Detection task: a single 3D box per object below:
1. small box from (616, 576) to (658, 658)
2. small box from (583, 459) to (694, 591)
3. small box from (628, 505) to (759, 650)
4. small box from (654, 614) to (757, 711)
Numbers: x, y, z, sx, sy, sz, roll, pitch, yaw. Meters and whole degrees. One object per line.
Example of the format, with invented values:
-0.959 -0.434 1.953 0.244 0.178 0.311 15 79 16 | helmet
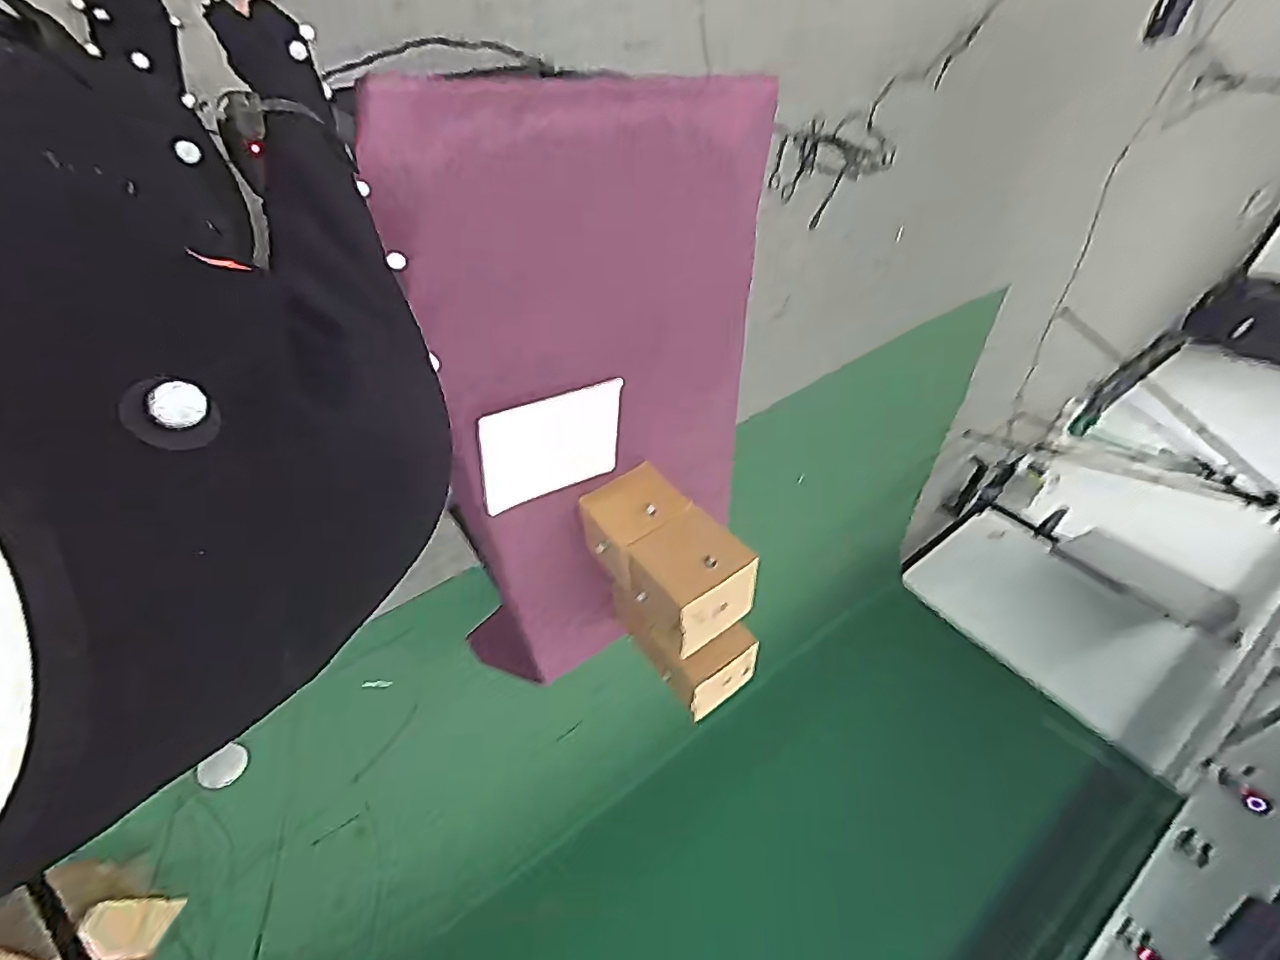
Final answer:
0.050 0.303 1.357 0.179 0.176 0.168 -27 138 -24 | small box
-0.004 0.088 1.124 0.179 0.176 0.168 -30 139 -21 | small box
0.097 0.176 1.026 0.179 0.176 0.168 -27 137 -24 | small box
0.143 0.387 1.251 0.179 0.176 0.168 -27 138 -22 | small box
